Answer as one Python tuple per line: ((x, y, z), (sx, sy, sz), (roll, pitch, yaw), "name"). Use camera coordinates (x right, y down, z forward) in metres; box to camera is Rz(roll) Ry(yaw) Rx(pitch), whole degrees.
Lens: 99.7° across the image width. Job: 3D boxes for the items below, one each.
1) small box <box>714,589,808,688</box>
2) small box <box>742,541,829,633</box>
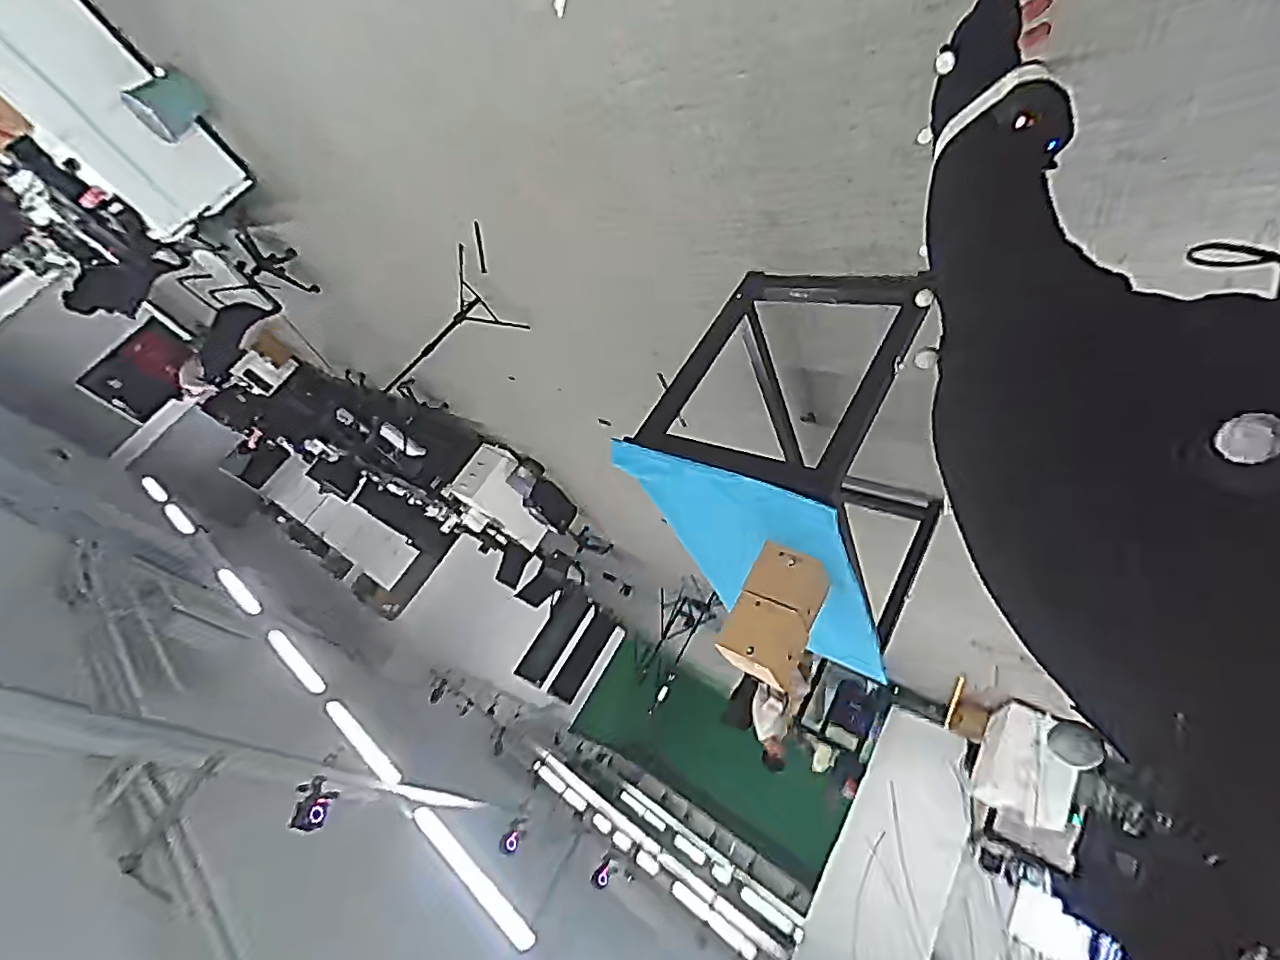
((0.335, 0.425, 1.466), (0.168, 0.176, 0.179), (16, 153, 42), "small box")
((0.419, 0.301, 1.530), (0.168, 0.176, 0.179), (17, 155, 38), "small box")
